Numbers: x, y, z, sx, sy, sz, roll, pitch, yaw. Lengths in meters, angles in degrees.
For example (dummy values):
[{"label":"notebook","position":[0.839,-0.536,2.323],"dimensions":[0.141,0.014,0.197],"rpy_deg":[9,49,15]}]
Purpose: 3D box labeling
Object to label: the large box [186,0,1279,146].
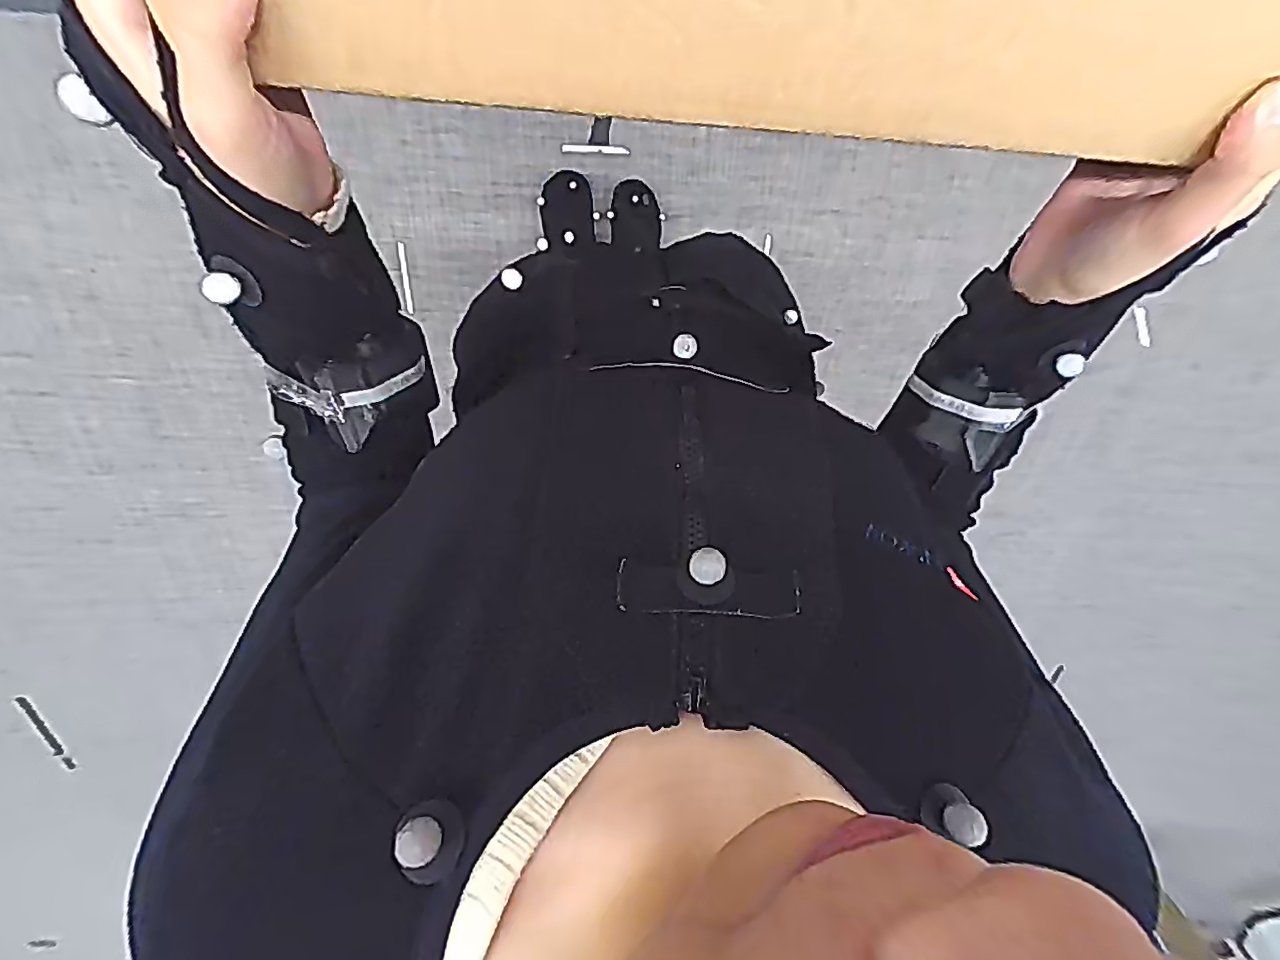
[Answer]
[{"label":"large box","position":[0.055,-0.347,0.180],"dimensions":[0.408,0.320,0.320],"rpy_deg":[0,141,-6]}]
